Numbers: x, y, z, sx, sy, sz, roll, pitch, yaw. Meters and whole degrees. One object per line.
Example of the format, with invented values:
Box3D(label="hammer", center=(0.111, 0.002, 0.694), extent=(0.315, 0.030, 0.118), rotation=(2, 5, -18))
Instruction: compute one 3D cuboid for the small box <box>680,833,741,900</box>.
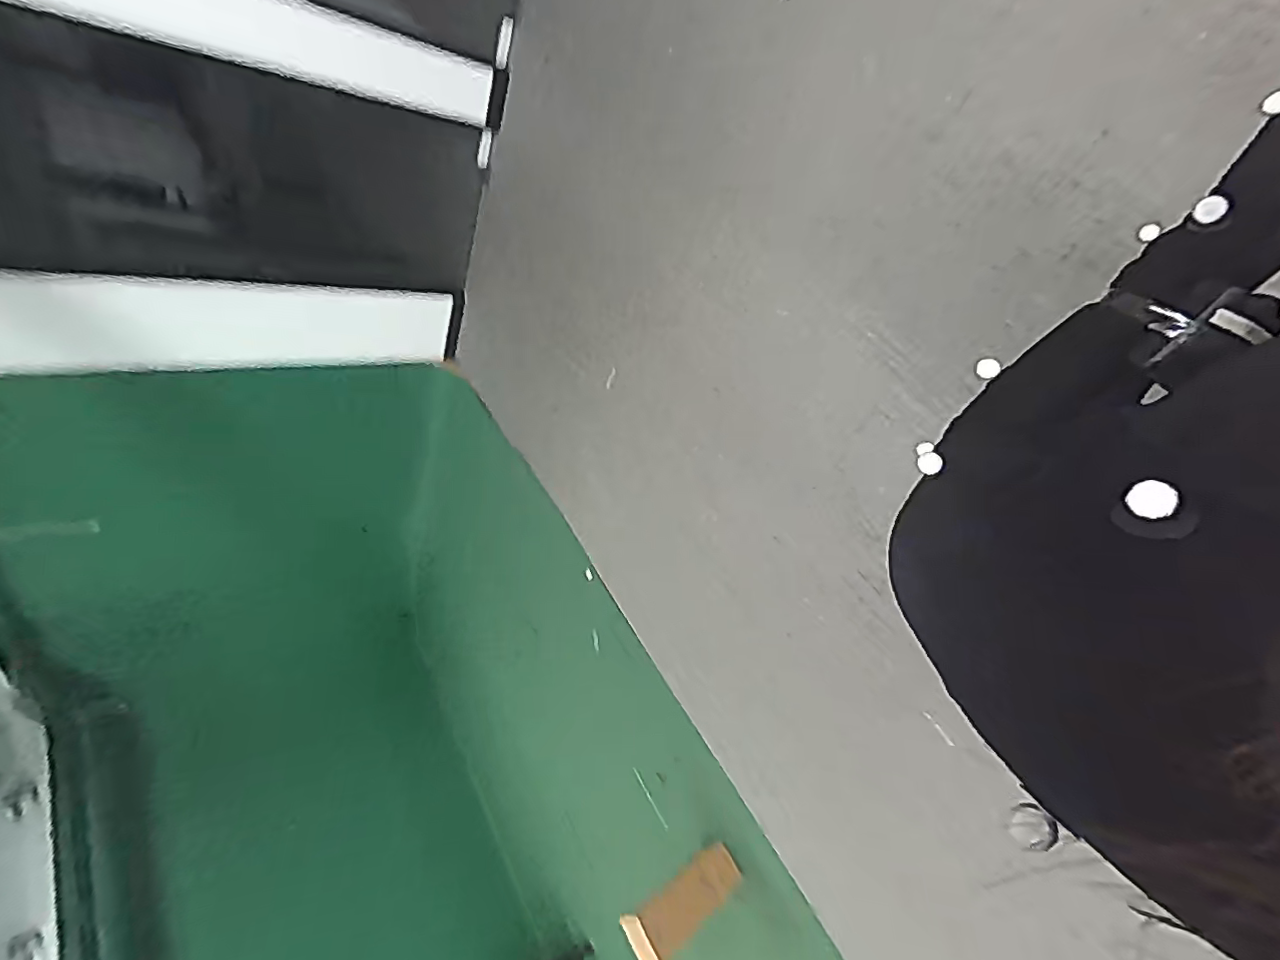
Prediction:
Box3D(label="small box", center=(0.315, 1.681, 2.356), extent=(0.168, 0.176, 0.179), rotation=(53, 135, 25))

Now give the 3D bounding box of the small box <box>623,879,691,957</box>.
Box3D(label="small box", center=(0.070, 1.734, 2.143), extent=(0.179, 0.176, 0.168), rotation=(56, 135, 23))
